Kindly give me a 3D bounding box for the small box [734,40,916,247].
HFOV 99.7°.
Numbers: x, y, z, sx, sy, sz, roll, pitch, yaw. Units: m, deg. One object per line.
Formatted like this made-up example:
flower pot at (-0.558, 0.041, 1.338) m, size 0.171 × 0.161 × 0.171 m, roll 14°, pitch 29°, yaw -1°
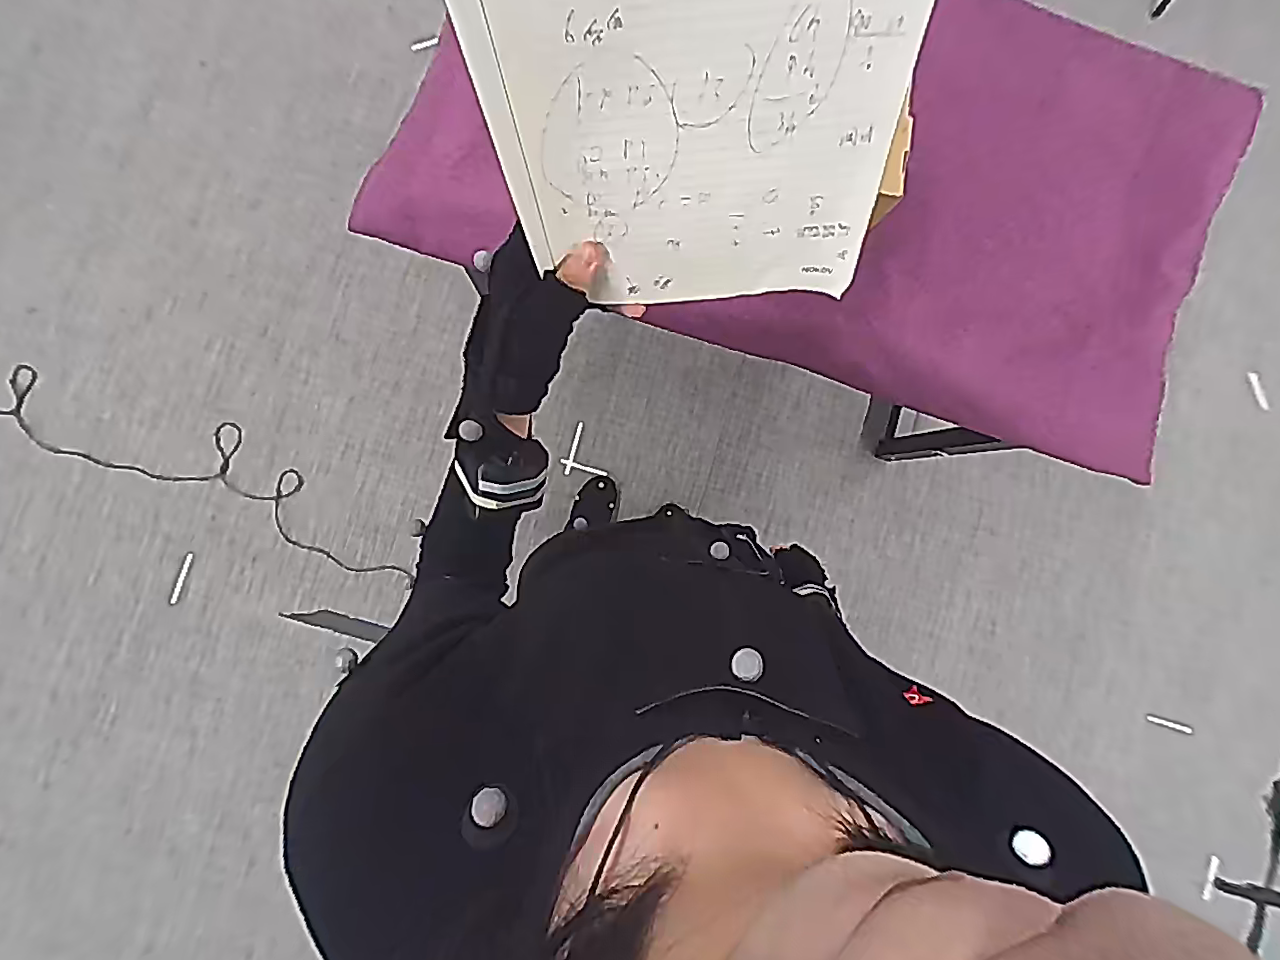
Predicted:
small box at (0.242, -0.442, 0.741) m, size 0.179 × 0.176 × 0.168 m, roll 6°, pitch 87°, yaw -5°
